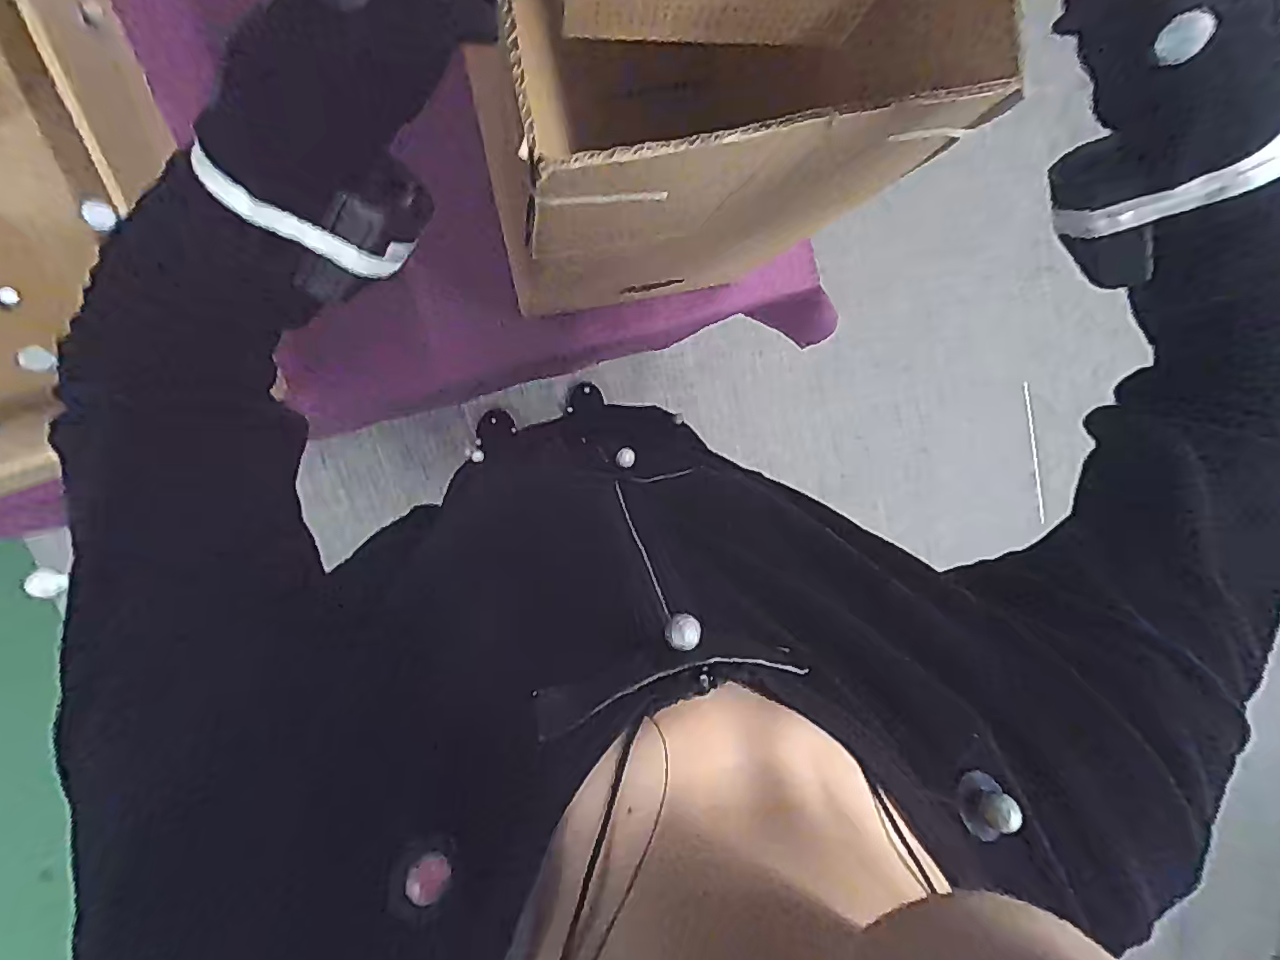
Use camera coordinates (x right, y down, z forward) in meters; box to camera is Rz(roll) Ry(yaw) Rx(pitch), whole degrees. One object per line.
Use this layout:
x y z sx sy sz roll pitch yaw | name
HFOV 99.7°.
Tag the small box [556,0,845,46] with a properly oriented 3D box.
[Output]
0.043 -0.335 0.239 0.179 0.176 0.168 -5 97 -9 | small box
